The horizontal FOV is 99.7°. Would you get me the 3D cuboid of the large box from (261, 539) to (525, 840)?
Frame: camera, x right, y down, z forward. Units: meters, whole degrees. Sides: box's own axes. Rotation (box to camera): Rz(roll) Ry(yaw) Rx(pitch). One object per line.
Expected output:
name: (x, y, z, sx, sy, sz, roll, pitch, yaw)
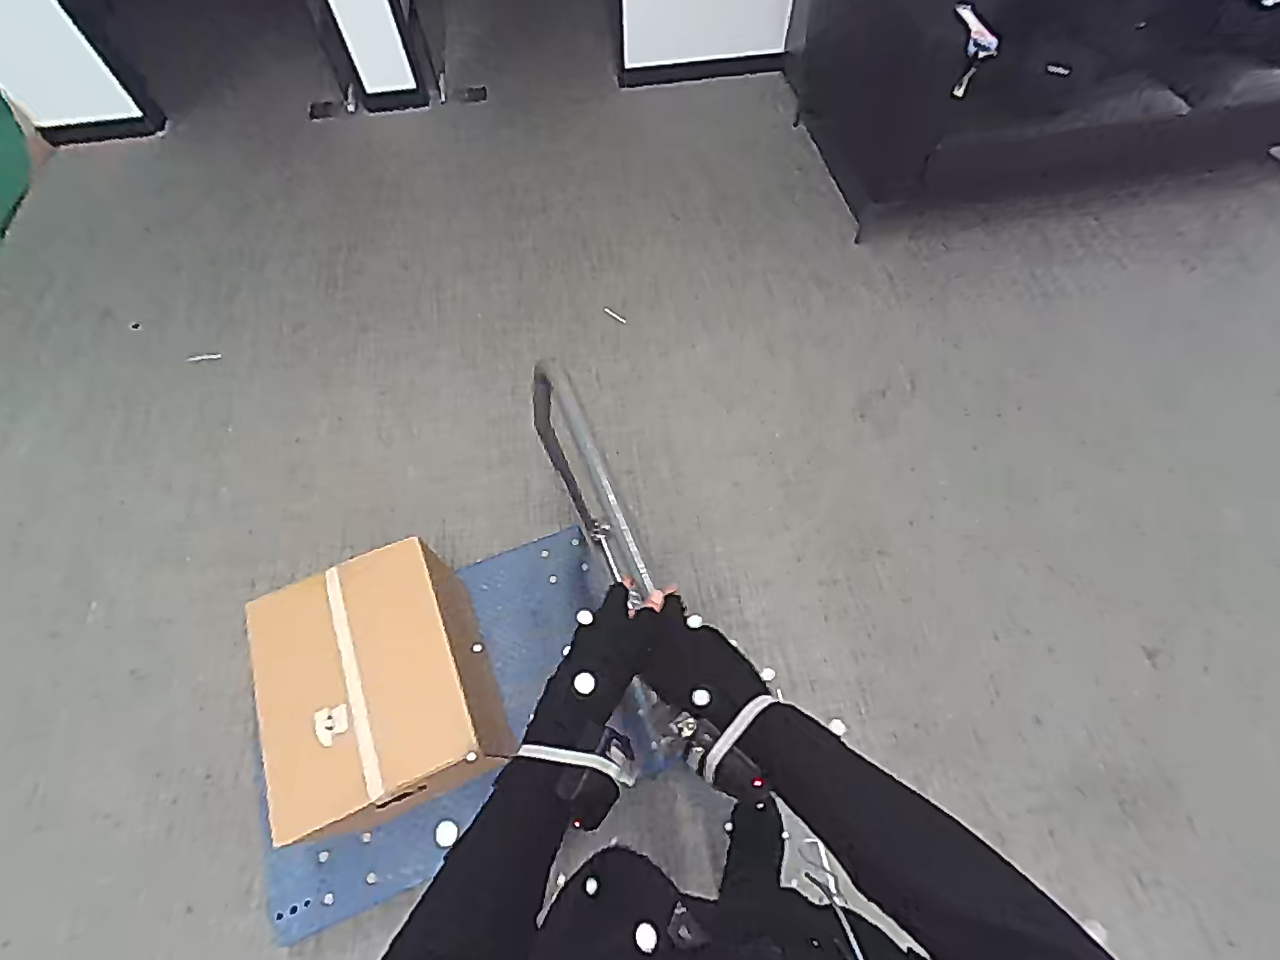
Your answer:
large box: (-0.456, 0.391, 1.047, 0.320, 0.320, 0.408, -23, 65, -11)
